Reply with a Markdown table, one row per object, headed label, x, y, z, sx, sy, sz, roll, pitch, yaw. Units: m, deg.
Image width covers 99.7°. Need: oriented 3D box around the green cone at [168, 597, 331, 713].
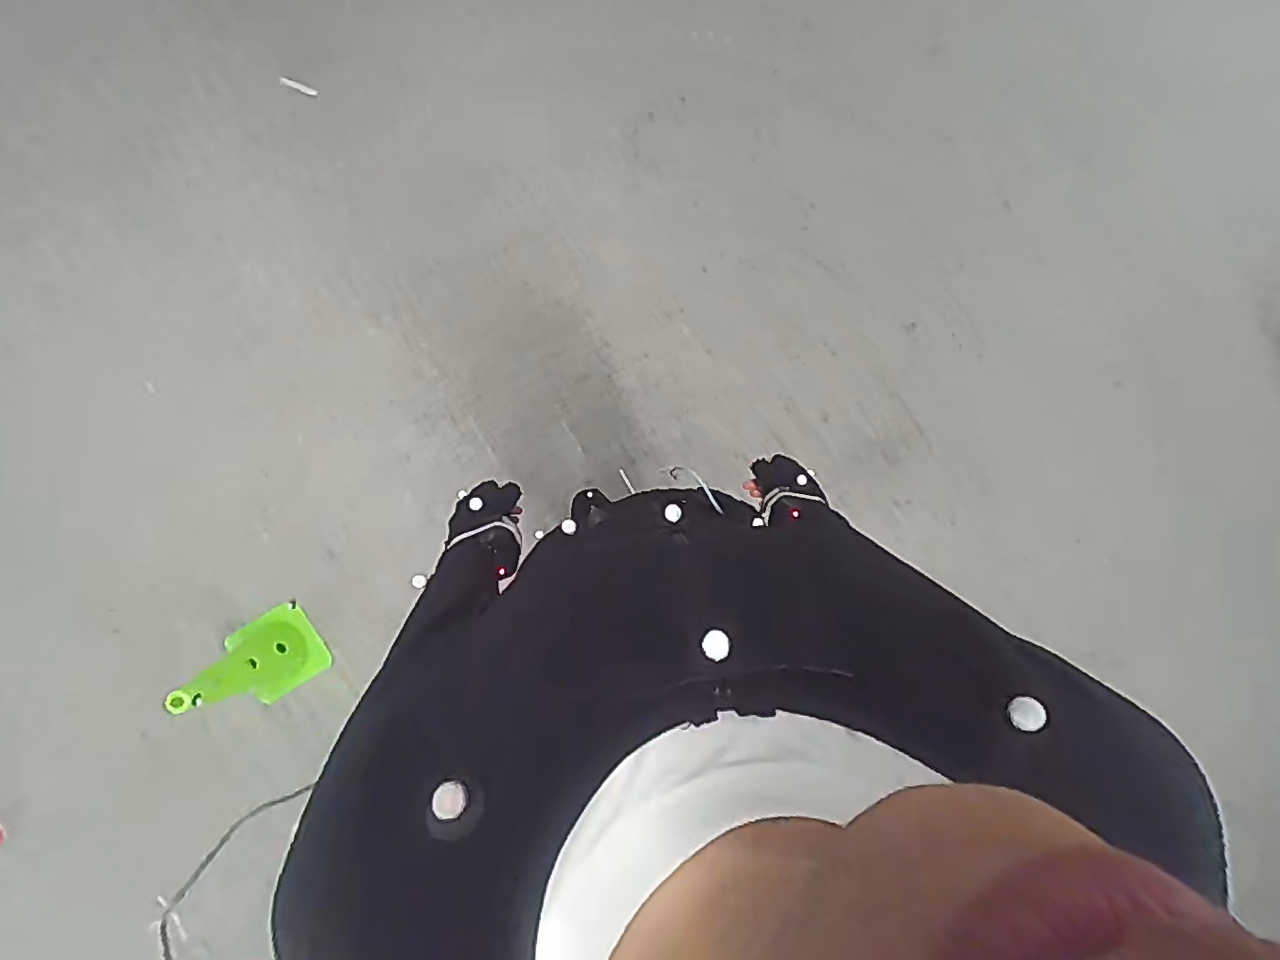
| label | x | y | z | sx | sy | sz | roll | pitch | yaw |
| --- | --- | --- | --- | --- | --- | --- | --- | --- | --- |
| green cone | -0.900 | 0.421 | 1.200 | 0.200 | 0.368 | 0.202 | -32 | 93 | -5 |
